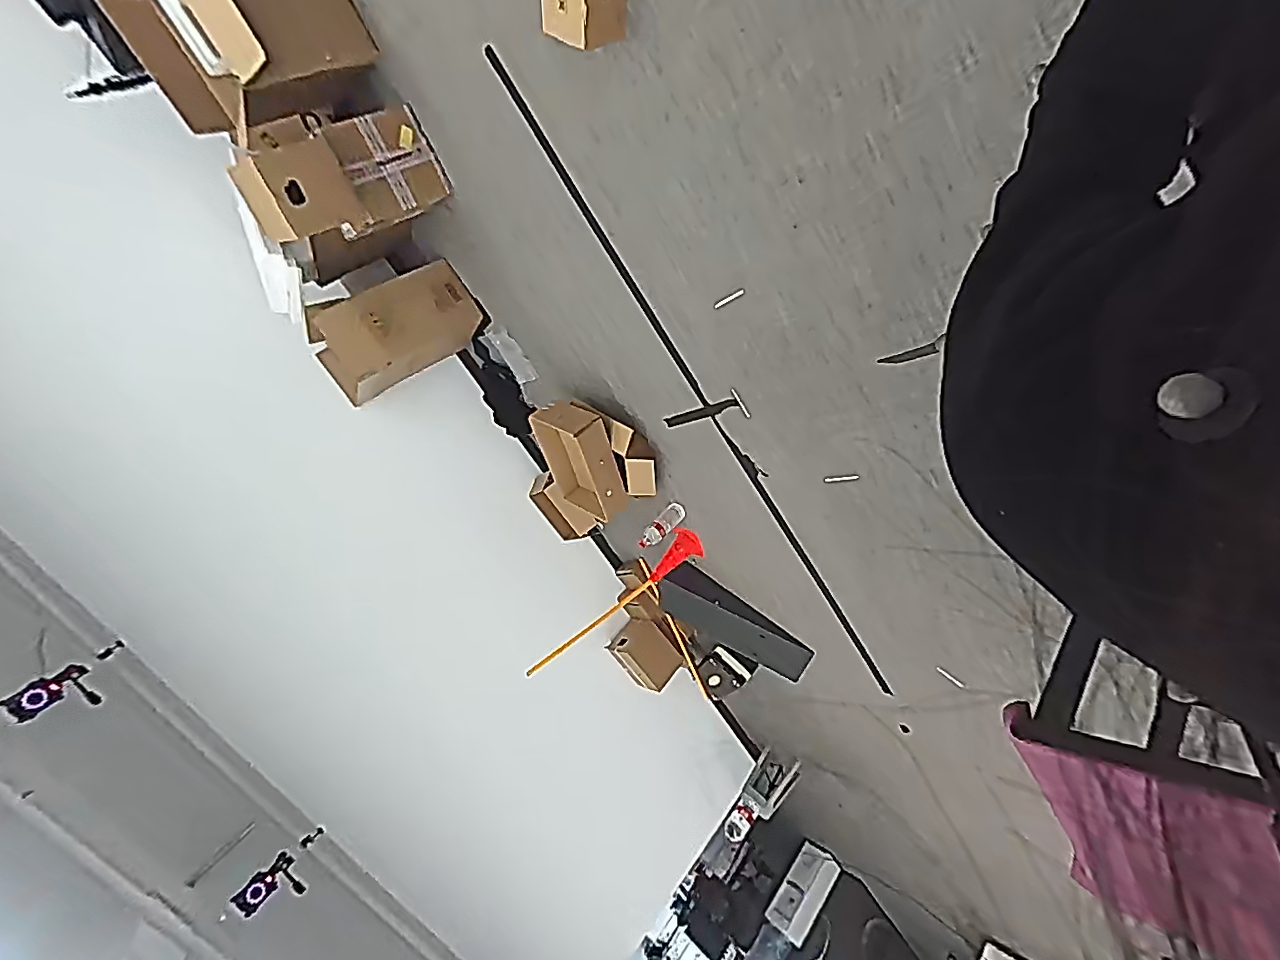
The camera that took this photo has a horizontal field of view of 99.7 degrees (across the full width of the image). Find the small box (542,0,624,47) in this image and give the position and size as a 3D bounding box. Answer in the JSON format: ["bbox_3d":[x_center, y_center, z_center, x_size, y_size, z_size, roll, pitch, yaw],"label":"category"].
[{"bbox_3d":[-0.156,-1.357,1.515,0.179,0.176,0.168,39,150,20],"label":"small box"}]
